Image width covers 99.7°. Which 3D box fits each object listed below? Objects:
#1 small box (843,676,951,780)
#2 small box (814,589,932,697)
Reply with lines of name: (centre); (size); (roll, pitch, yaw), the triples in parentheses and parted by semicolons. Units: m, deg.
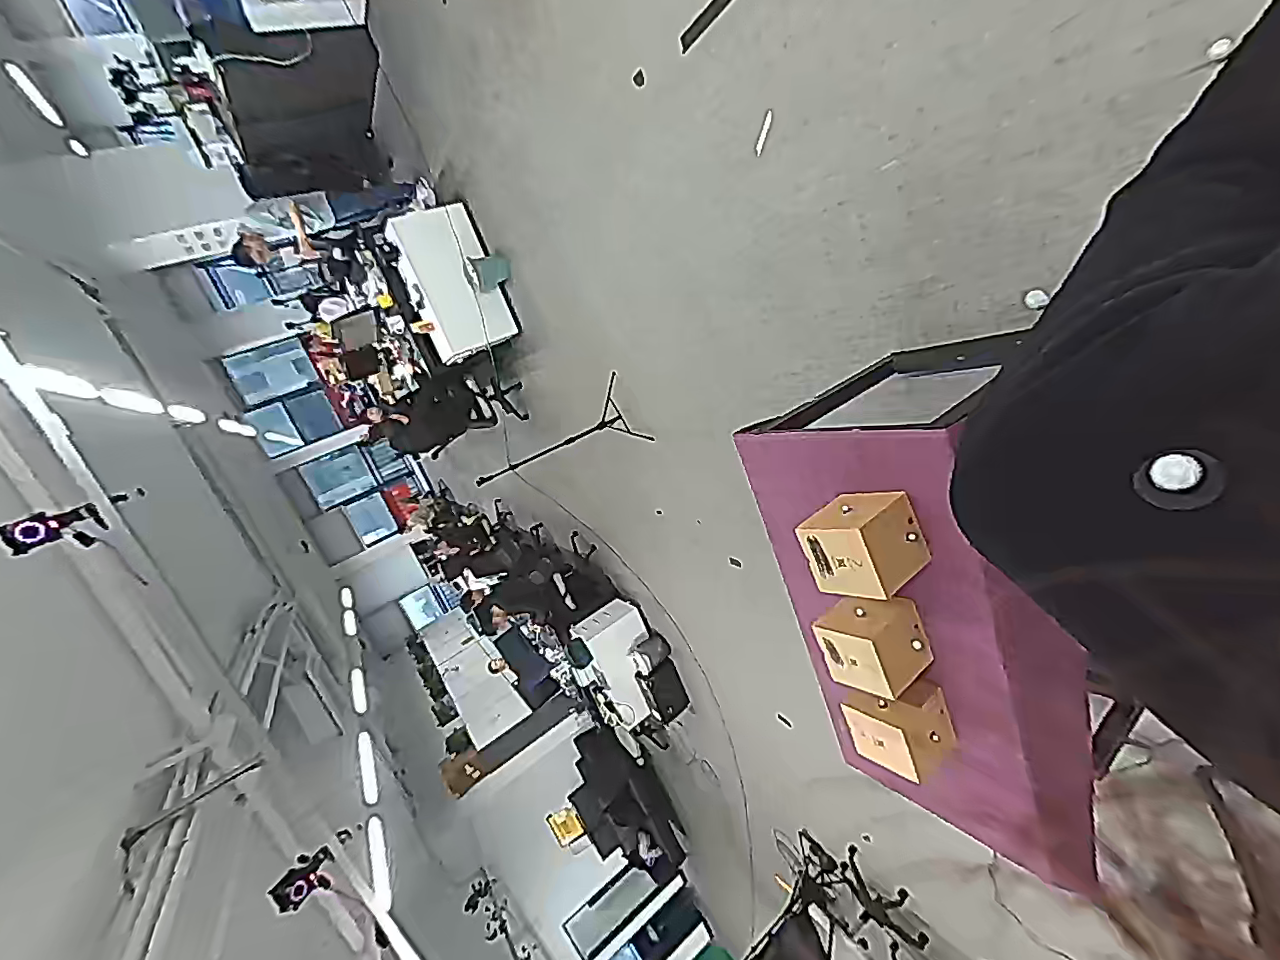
small box: (0.652, 0.599, 1.361); (0.179, 0.176, 0.168); (3, 118, 61)
small box: (0.561, 0.382, 1.305); (0.179, 0.176, 0.168); (-5, 112, 61)
